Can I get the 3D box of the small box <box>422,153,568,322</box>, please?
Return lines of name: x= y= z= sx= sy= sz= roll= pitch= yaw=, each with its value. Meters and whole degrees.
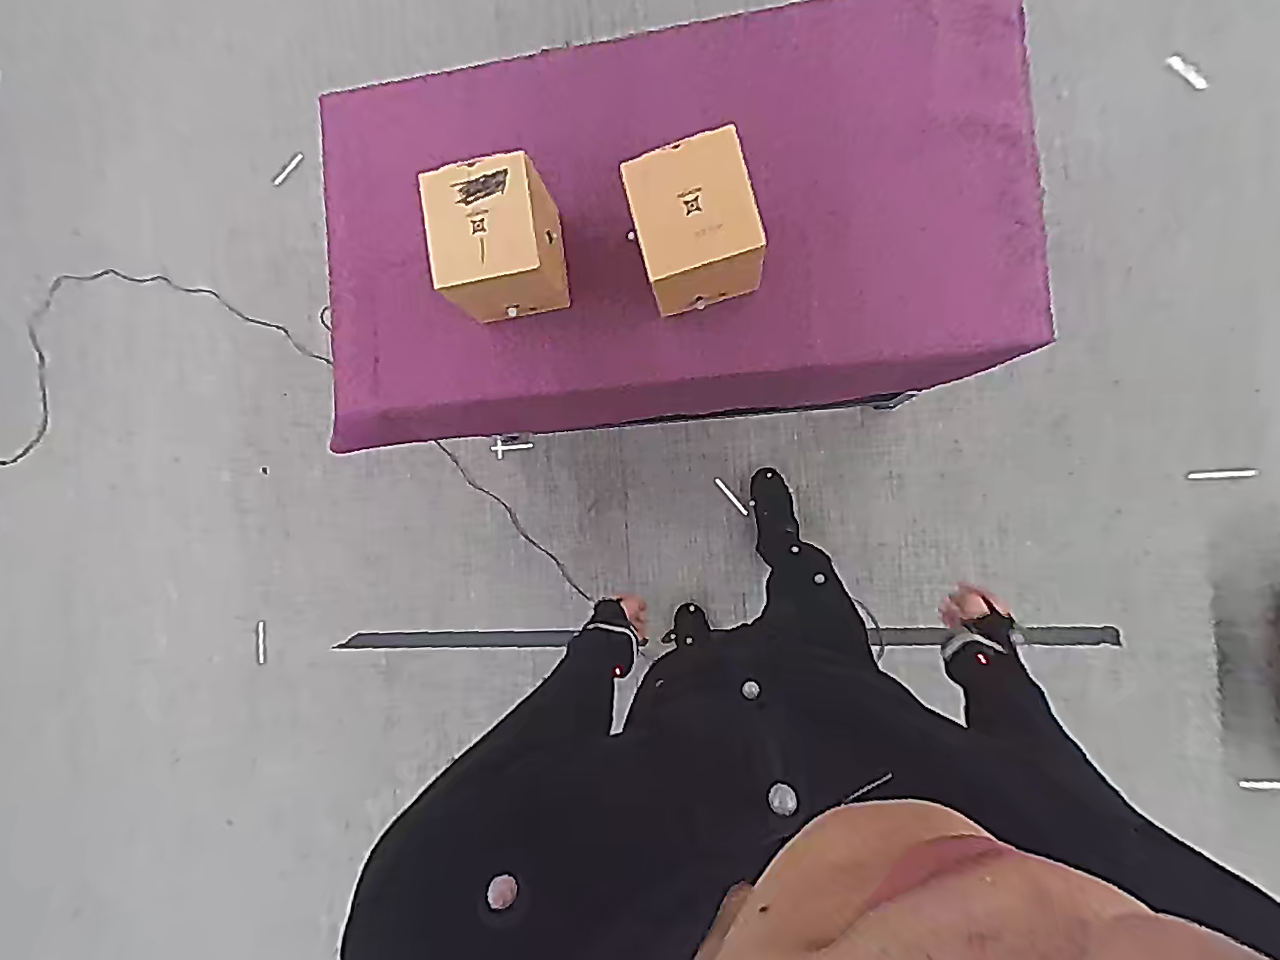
small box: x=-0.223 y=-0.375 z=0.866 sx=0.168 sy=0.176 sz=0.179 roll=-8 pitch=88 yaw=8

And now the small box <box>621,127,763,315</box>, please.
small box: x=0.080 y=-0.380 z=0.824 sx=0.168 sy=0.176 sz=0.179 roll=-15 pitch=86 yaw=8
